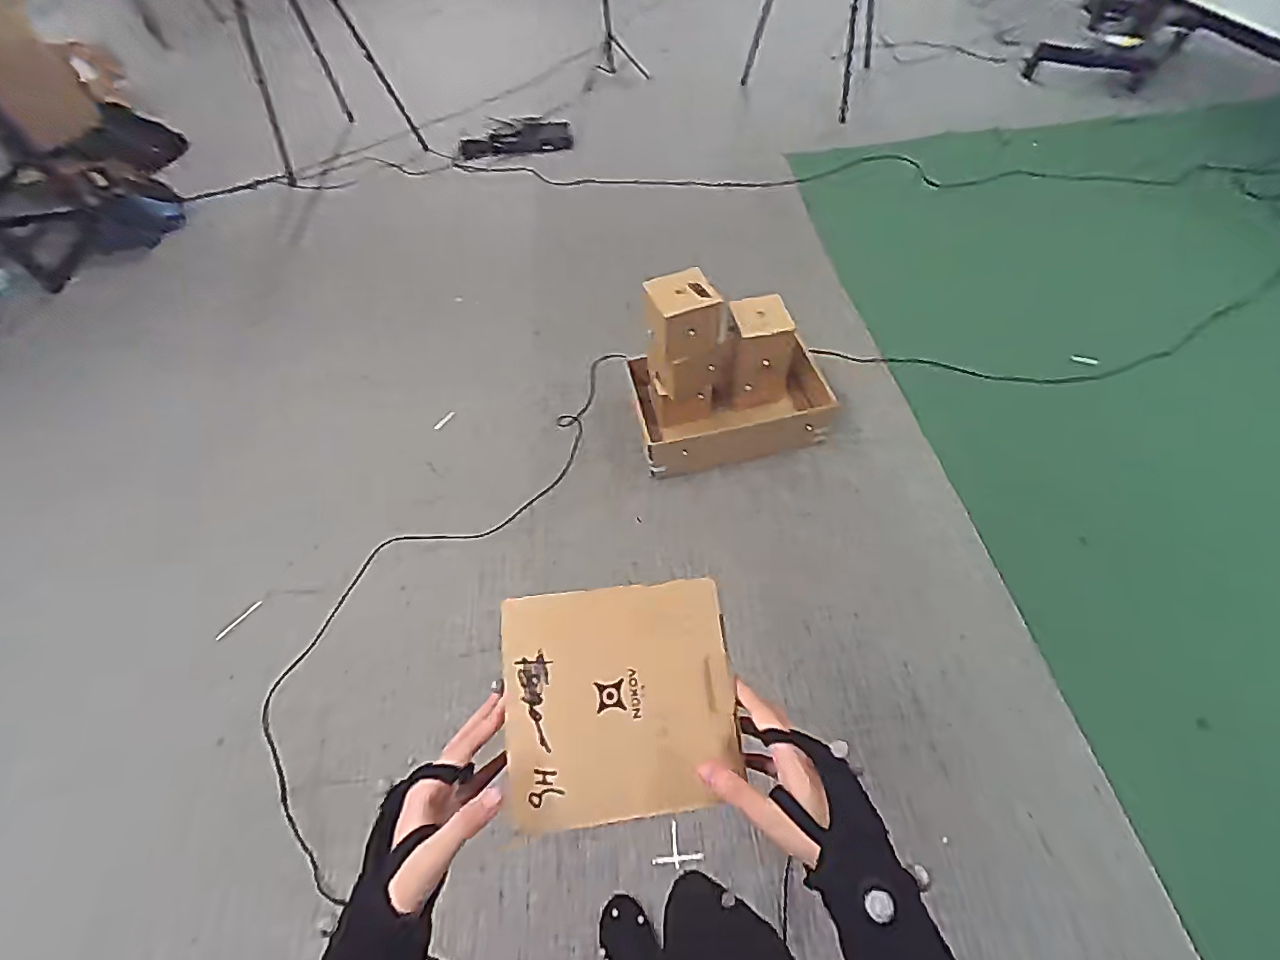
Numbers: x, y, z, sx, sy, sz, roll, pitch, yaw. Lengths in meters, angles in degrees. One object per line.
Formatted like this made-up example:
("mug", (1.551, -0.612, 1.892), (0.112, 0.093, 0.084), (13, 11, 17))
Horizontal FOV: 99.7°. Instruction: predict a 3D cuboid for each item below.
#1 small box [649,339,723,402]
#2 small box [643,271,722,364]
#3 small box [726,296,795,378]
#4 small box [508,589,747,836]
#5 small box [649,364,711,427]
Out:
("small box", (0.137, -0.378, 1.693), (0.179, 0.176, 0.168), (-26, 59, -13))
("small box", (0.117, -0.464, 1.555), (0.179, 0.176, 0.168), (-20, 57, -9))
("small box", (0.374, -0.451, 1.719), (0.168, 0.176, 0.179), (-11, 56, -2))
("small box", (-0.019, 0.194, 0.488), (0.179, 0.176, 0.168), (-4, 72, -5))
("small box", (0.135, -0.299, 1.836), (0.179, 0.176, 0.168), (-11, 57, -4))
